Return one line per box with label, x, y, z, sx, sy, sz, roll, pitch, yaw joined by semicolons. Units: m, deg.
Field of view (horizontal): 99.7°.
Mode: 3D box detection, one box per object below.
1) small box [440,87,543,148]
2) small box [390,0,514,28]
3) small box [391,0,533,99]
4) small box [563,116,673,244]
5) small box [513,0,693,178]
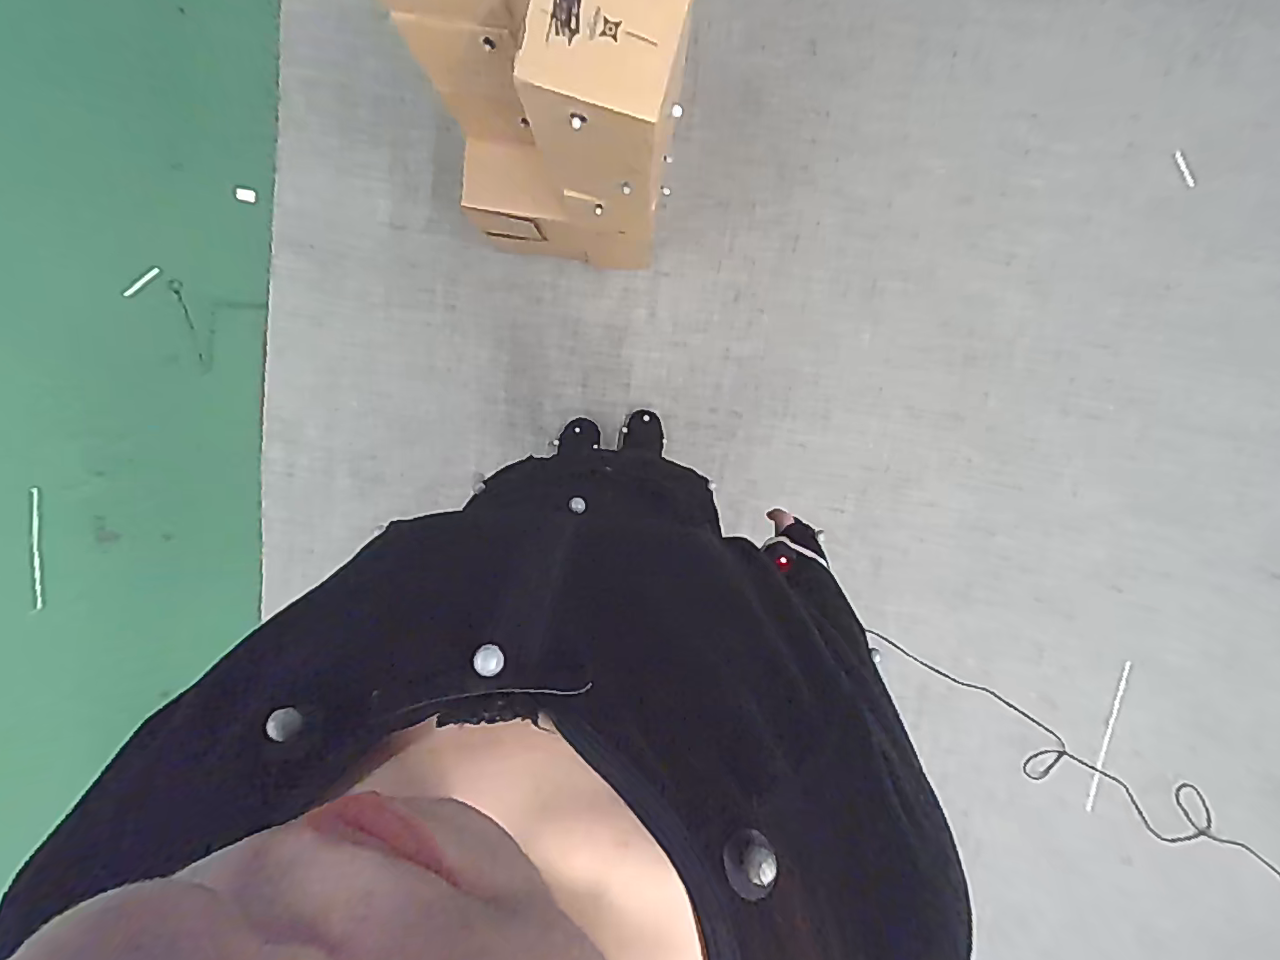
small box;-0.251;-0.749;1.007;0.179;0.176;0.168;6;96;1
small box;-0.252;-0.721;0.681;0.179;0.176;0.168;8;95;0
small box;-0.260;-0.735;0.846;0.179;0.176;0.168;7;95;-1
small box;-0.041;-0.576;1.023;0.168;0.176;0.179;12;97;-1
small box;-0.043;-0.523;0.698;0.179;0.176;0.168;16;98;-3
